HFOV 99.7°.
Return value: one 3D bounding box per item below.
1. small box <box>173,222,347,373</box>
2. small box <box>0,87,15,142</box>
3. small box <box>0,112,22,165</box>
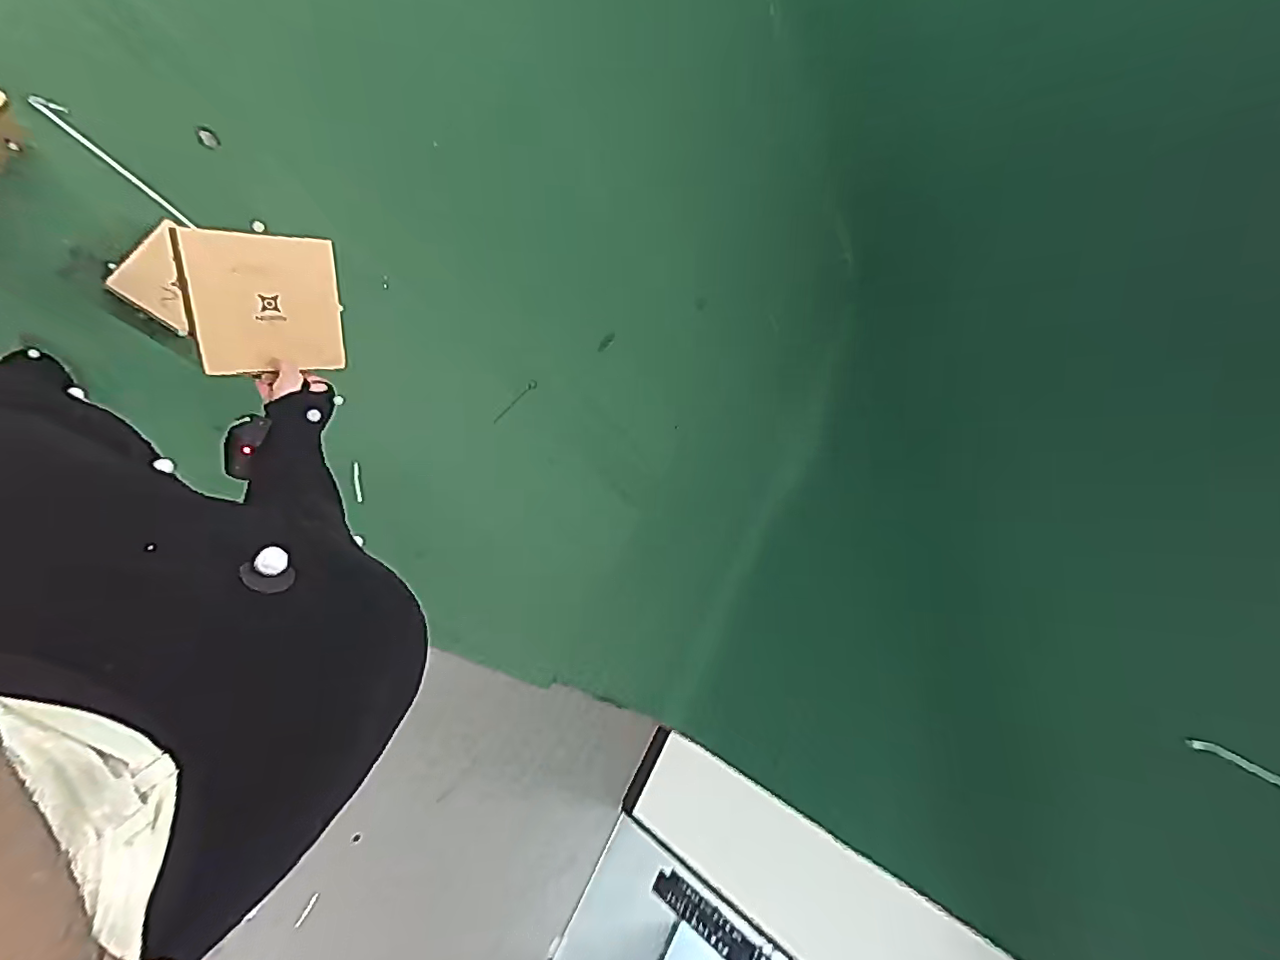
[{"bbox_3d":[-0.529,-0.256,0.758,0.168,0.176,0.179,-14,118,-39],"label":"small box"},{"bbox_3d":[-1.074,-0.560,0.777,0.179,0.176,0.168,43,71,-44],"label":"small box"},{"bbox_3d":[-1.186,-0.598,0.893,0.168,0.176,0.179,43,71,-44],"label":"small box"}]
